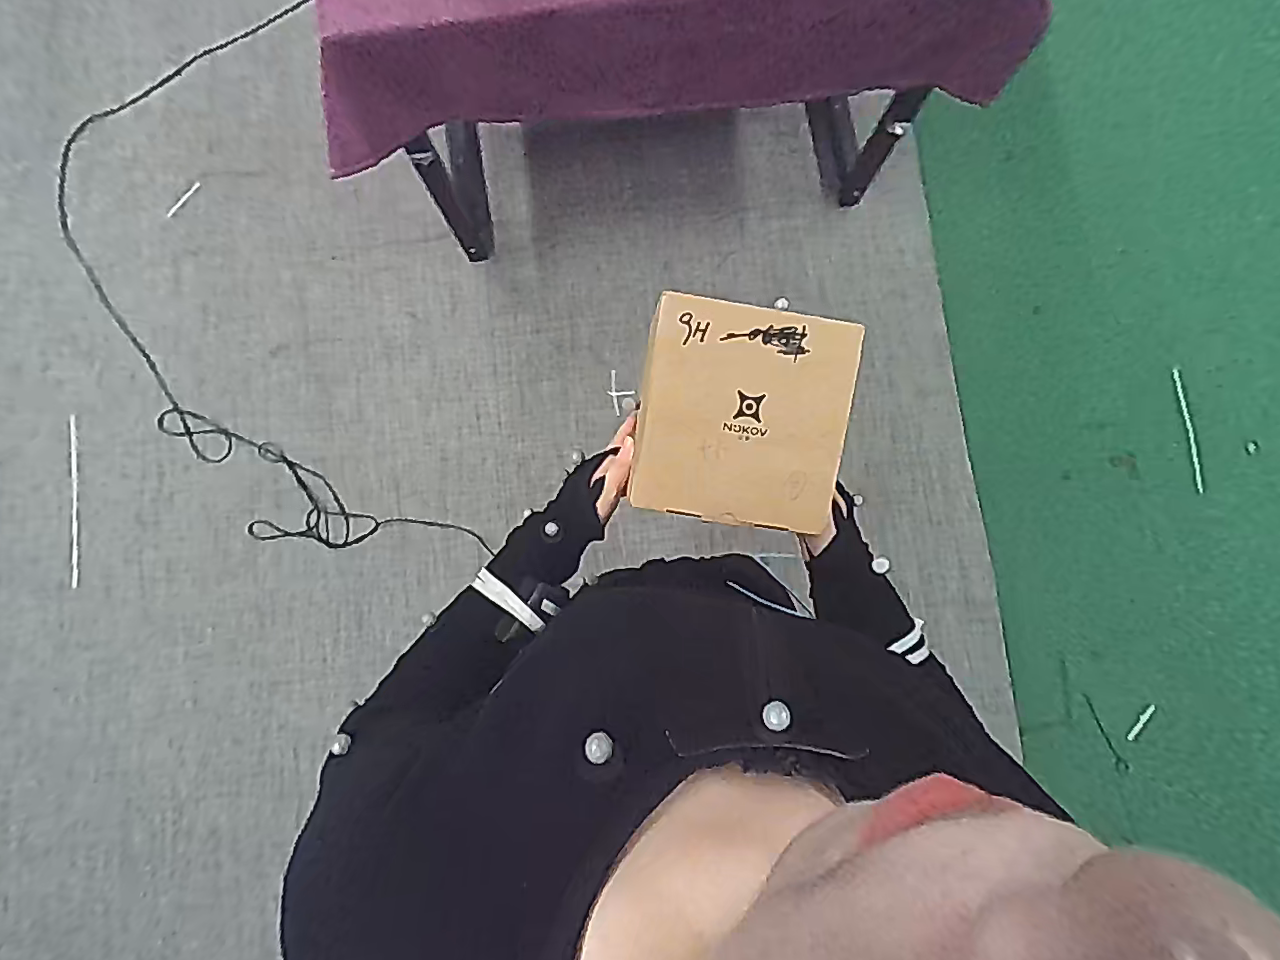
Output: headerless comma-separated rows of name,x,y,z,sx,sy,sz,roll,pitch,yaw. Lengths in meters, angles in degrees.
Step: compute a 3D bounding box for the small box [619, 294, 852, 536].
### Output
small box,0.074,-0.060,0.514,0.168,0.176,0.179,8,97,-3
